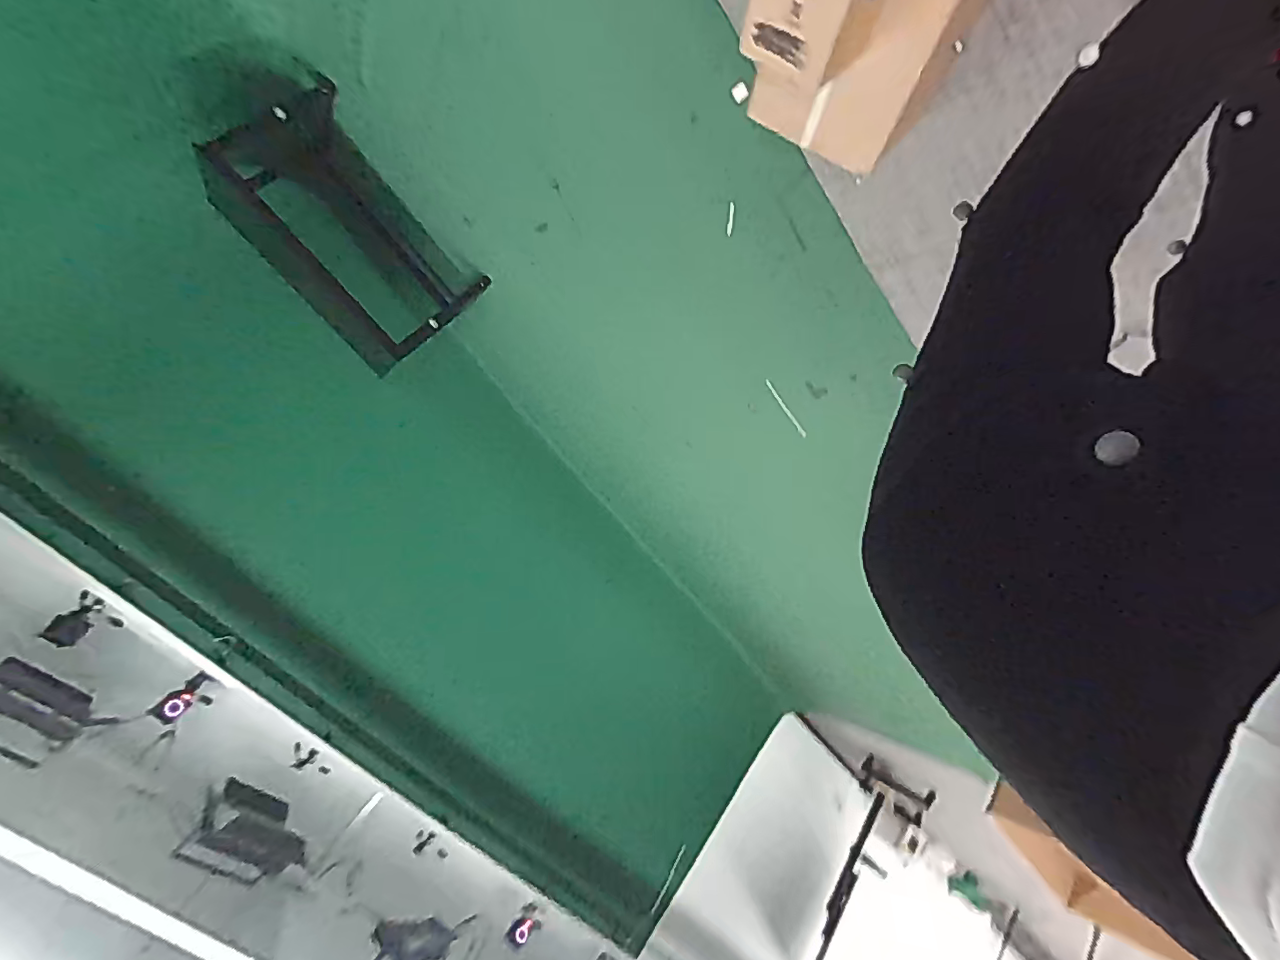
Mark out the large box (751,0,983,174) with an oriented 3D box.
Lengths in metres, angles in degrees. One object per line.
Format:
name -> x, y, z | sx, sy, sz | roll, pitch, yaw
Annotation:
large box -> 0.471, -0.926, 1.058 | 0.320, 0.320, 0.408 | 37, 158, 11
